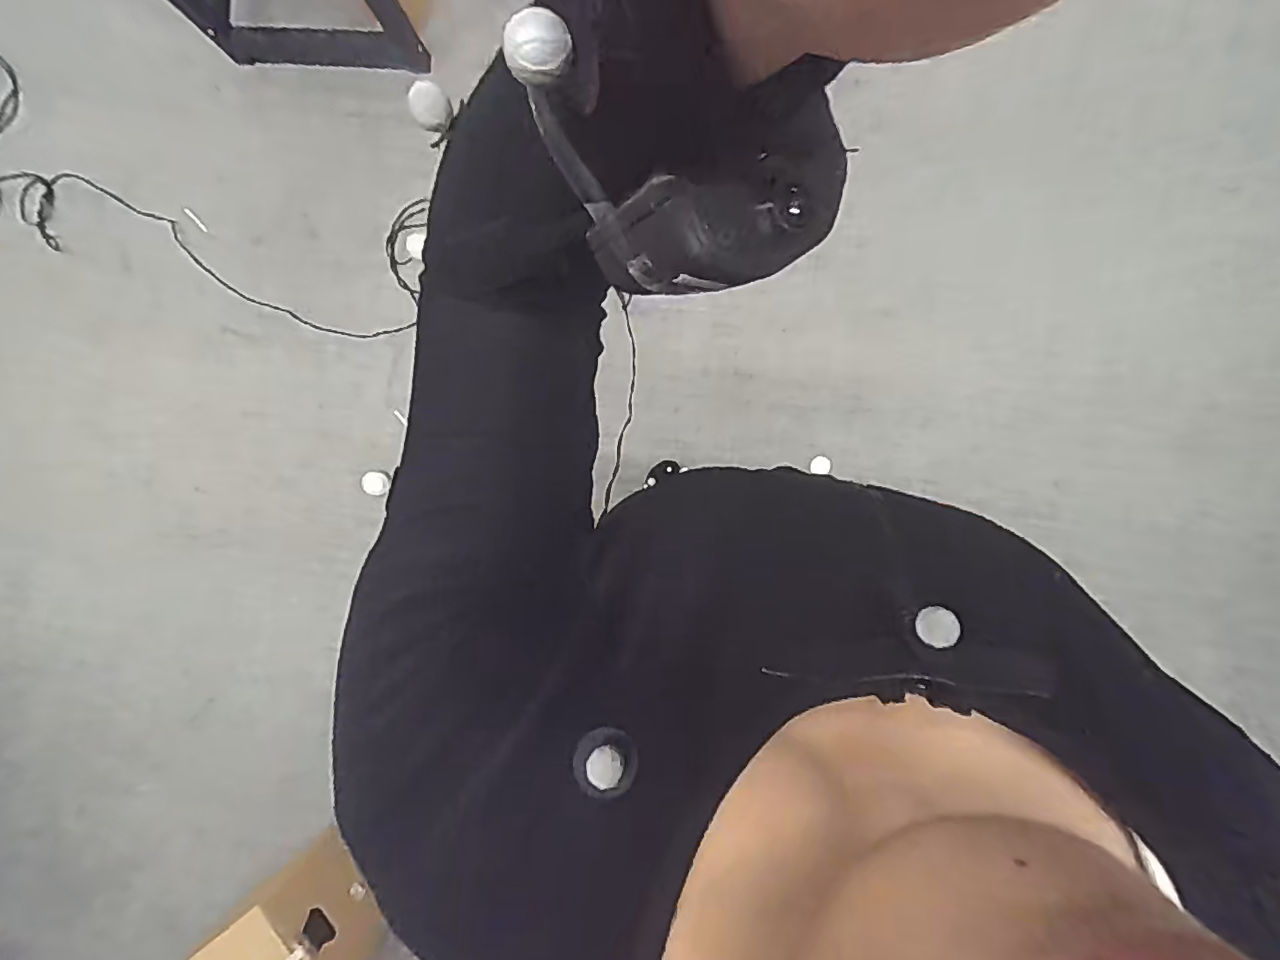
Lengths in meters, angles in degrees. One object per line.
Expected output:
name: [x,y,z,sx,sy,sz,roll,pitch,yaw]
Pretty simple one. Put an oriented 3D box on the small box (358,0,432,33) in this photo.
small box: [-0.668,-1.352,1.440,0.168,0.176,0.179,18,93,3]
